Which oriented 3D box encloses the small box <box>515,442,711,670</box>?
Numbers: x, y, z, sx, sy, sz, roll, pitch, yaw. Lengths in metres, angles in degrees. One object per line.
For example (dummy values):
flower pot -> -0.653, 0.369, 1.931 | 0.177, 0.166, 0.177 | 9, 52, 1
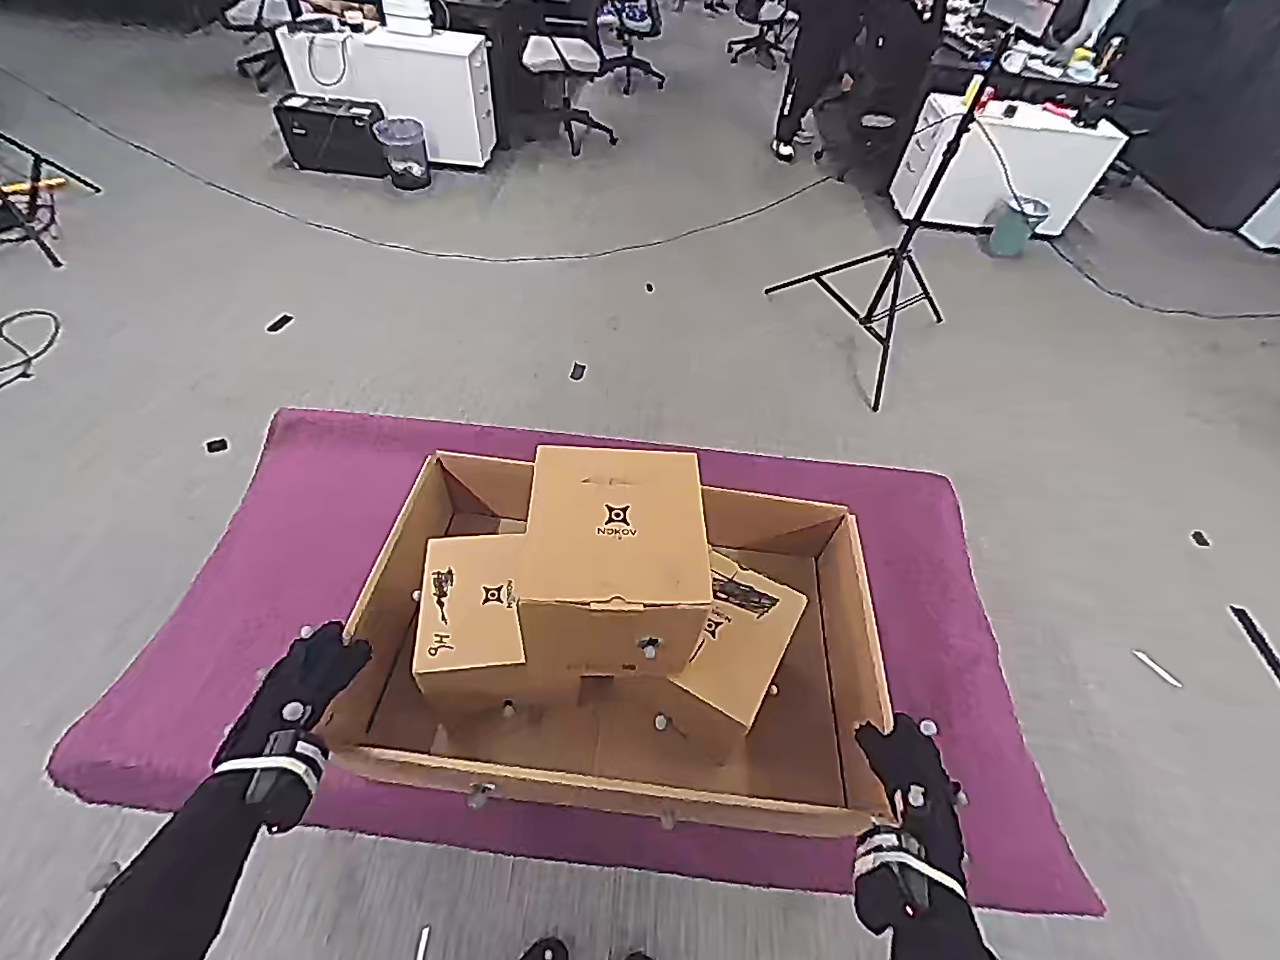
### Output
small box -> -0.030, 0.083, 0.556 | 0.168, 0.176, 0.179 | 3, 49, -6
